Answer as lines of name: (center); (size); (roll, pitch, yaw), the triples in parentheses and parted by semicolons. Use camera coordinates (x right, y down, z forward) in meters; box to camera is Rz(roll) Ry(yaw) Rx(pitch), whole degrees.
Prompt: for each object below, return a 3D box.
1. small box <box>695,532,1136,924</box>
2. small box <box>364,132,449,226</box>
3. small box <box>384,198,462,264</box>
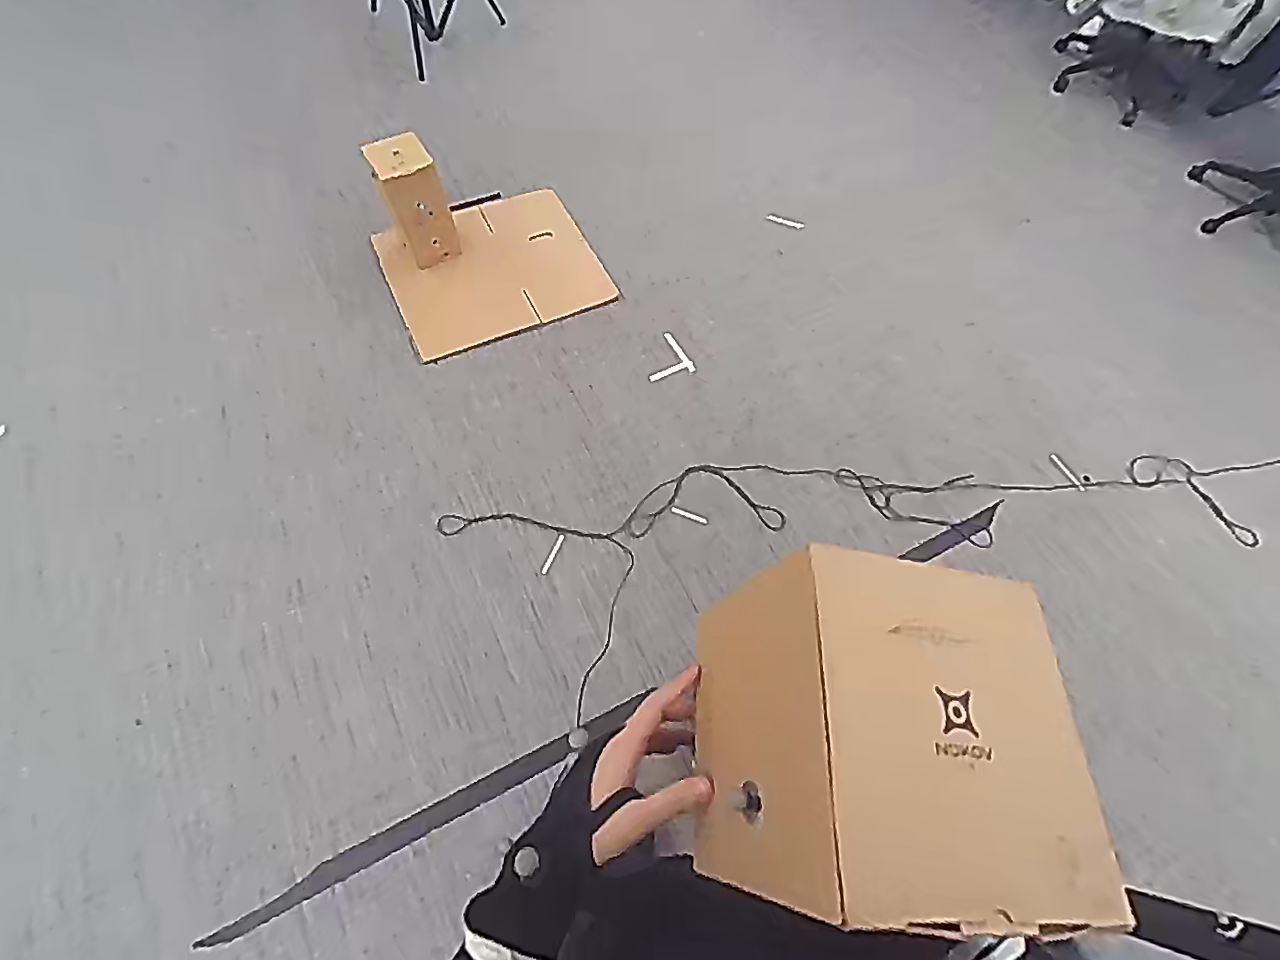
small box: (0.142, 0.157, 0.349); (0.168, 0.176, 0.179); (12, 59, -14)
small box: (-0.719, -0.930, 1.679); (0.168, 0.176, 0.179); (-29, 70, -15)
small box: (-0.725, -0.860, 1.828); (0.168, 0.176, 0.179); (-30, 71, -17)
